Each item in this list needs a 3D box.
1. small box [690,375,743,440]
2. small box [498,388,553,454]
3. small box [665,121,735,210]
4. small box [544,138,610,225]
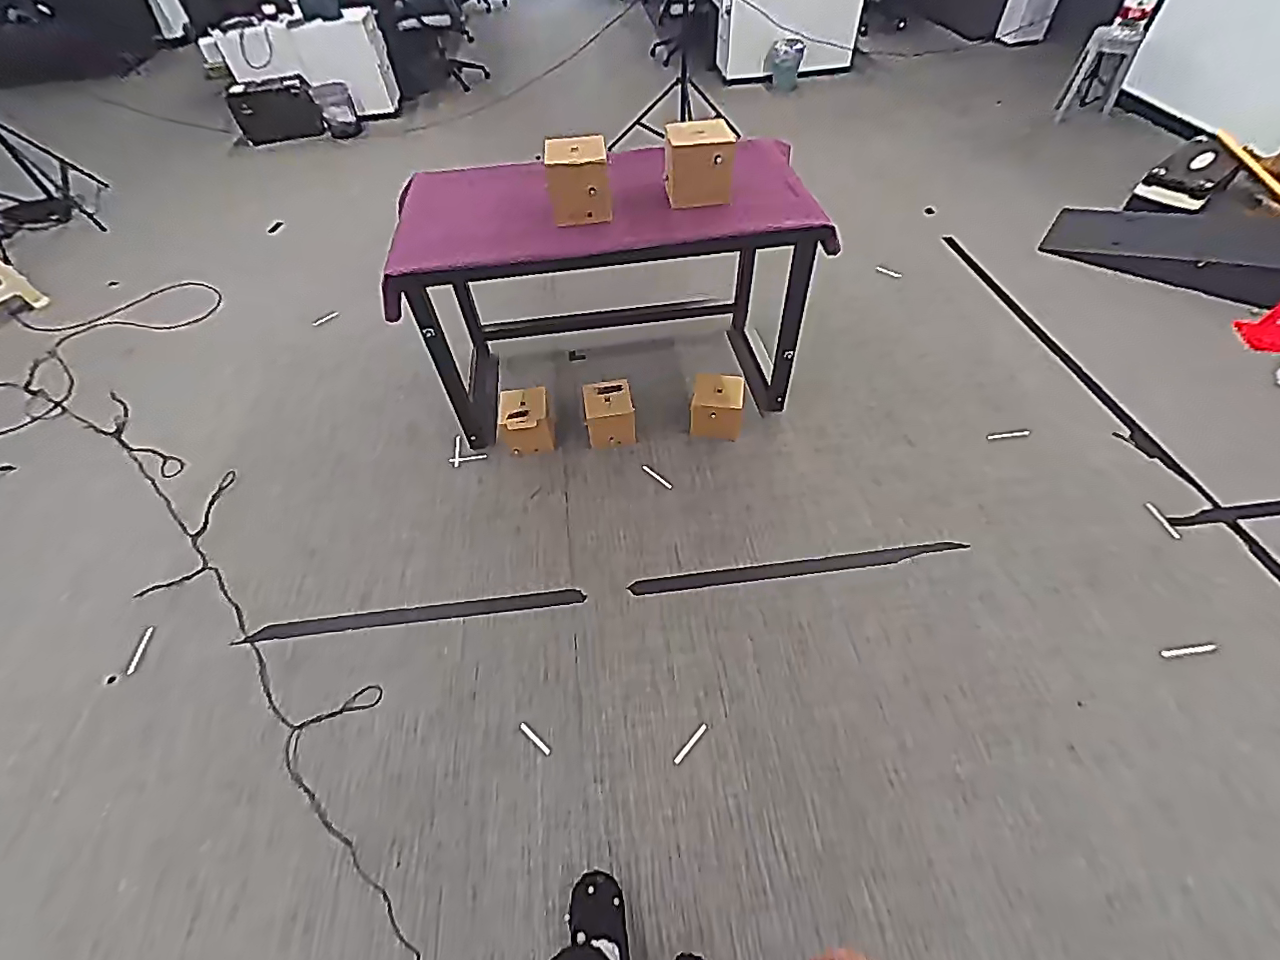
[{"bbox_3d":[0.278,-0.261,1.975,0.179,0.176,0.168,5,53,9],"label":"small box"},{"bbox_3d":[-0.411,-0.207,1.970,0.168,0.176,0.179,-7,51,-2],"label":"small box"},{"bbox_3d":[0.165,-0.902,1.555,0.179,0.176,0.168,-6,51,-1],"label":"small box"},{"bbox_3d":[-0.175,-0.834,1.523,0.168,0.176,0.179,-6,50,-3],"label":"small box"}]
